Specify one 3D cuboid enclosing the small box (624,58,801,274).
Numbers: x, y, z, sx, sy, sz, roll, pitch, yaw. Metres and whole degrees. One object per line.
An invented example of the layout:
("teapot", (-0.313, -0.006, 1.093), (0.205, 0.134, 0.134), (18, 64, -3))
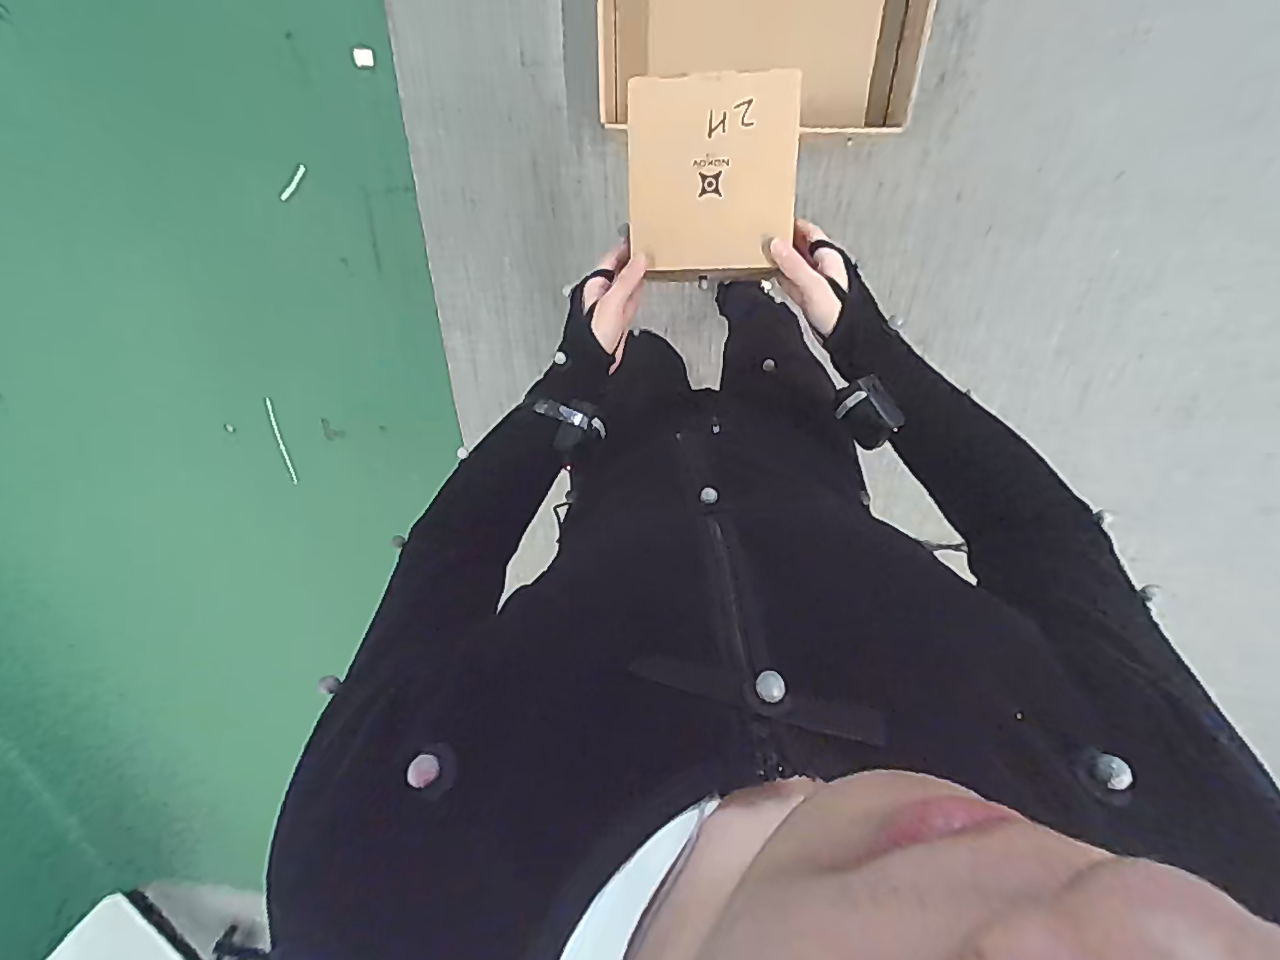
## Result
("small box", (0.074, -0.326, 0.599), (0.168, 0.176, 0.179), (1, 106, 5))
